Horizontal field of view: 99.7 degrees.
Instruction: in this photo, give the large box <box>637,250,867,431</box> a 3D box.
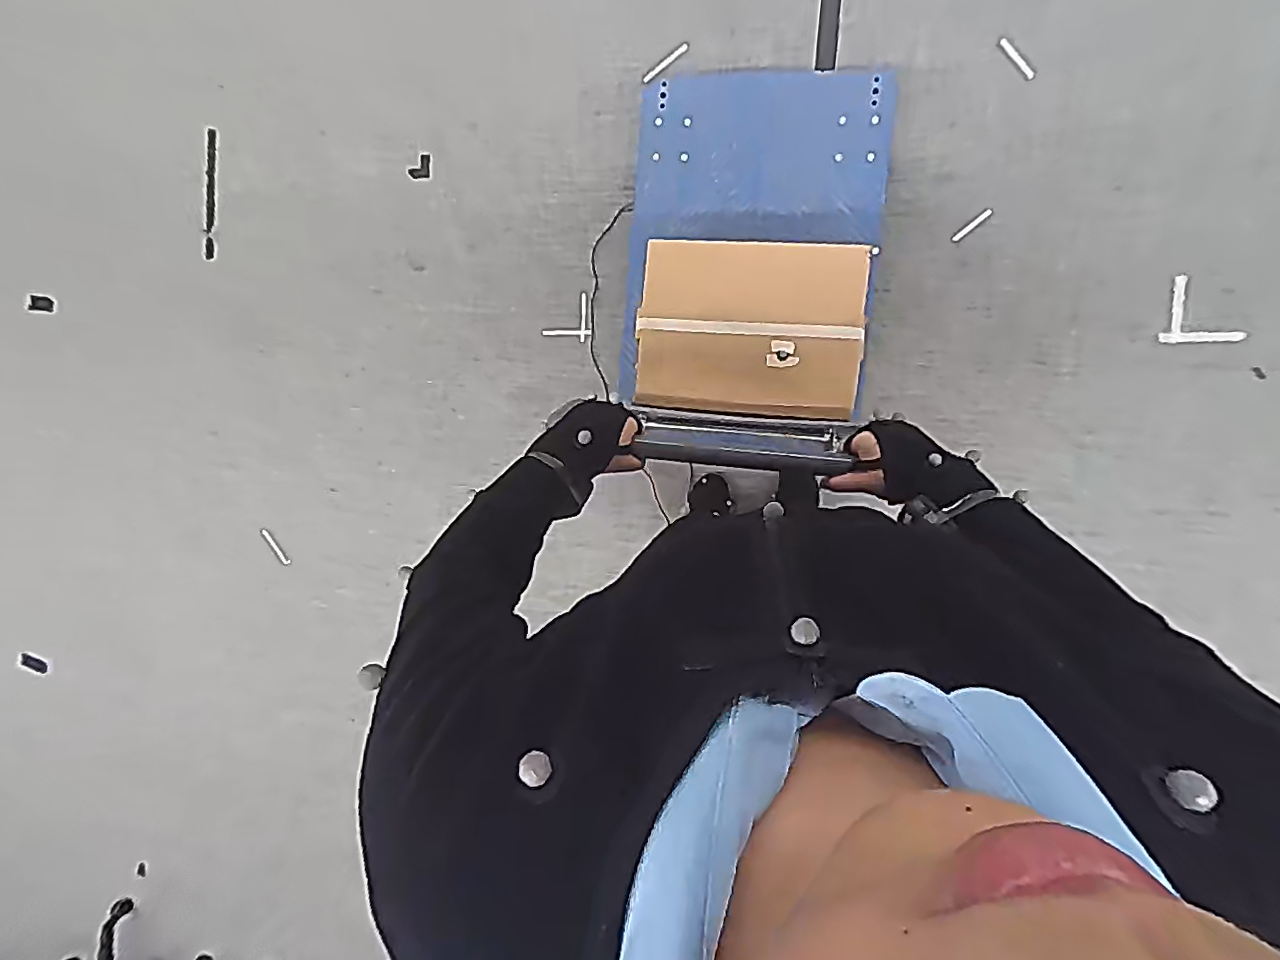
[{"bbox_3d":[0.219,-0.272,1.142,0.408,0.320,0.320,5,95,9],"label":"large box"}]
